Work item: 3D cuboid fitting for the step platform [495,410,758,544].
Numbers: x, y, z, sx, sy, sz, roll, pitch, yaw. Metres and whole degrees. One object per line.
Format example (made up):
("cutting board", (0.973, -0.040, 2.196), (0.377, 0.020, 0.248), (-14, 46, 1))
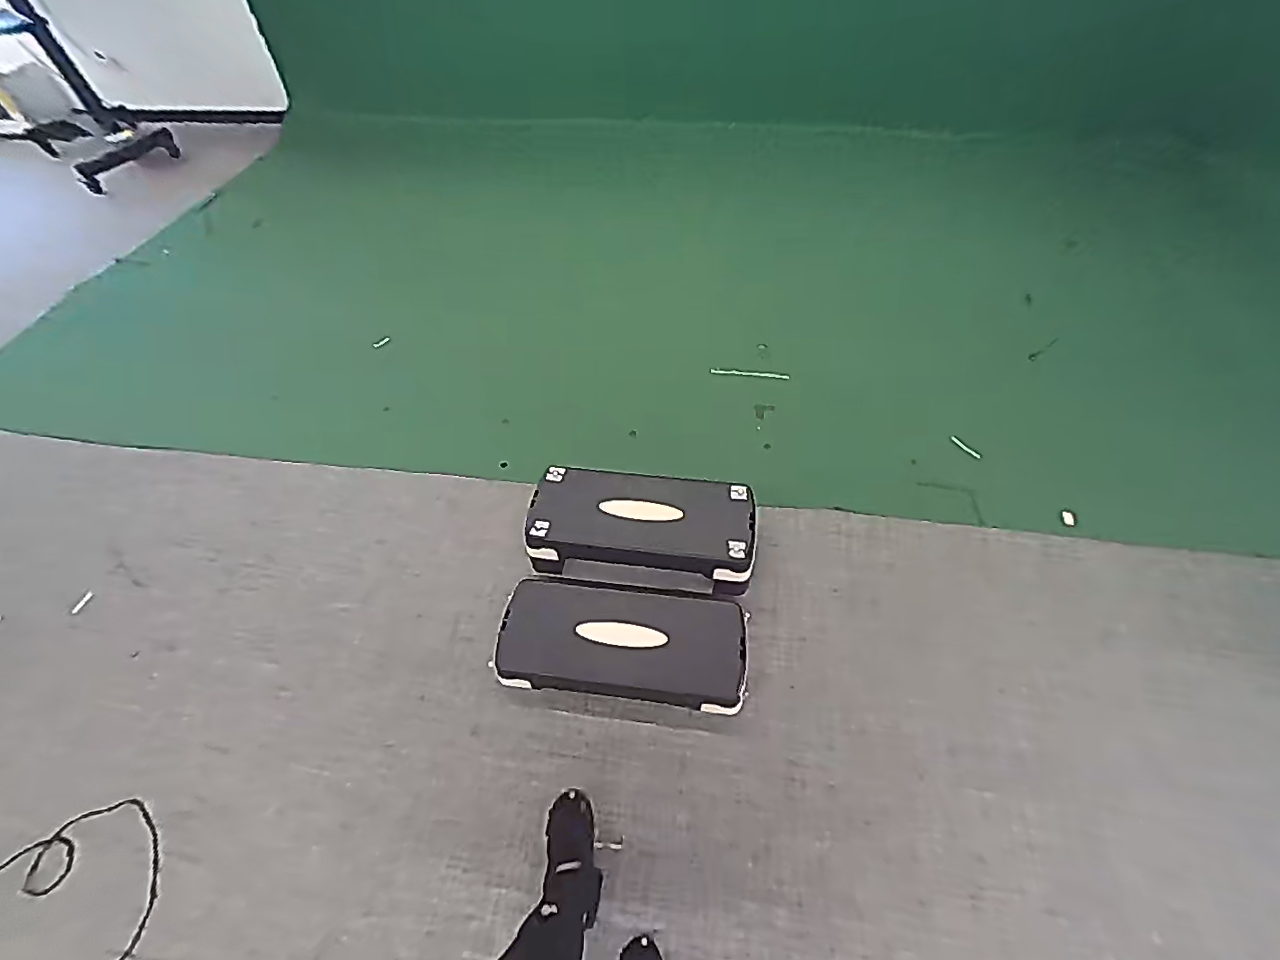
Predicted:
("step platform", (-0.032, -0.008, 1.495), (0.684, 0.204, 0.286), (5, 53, 7))
